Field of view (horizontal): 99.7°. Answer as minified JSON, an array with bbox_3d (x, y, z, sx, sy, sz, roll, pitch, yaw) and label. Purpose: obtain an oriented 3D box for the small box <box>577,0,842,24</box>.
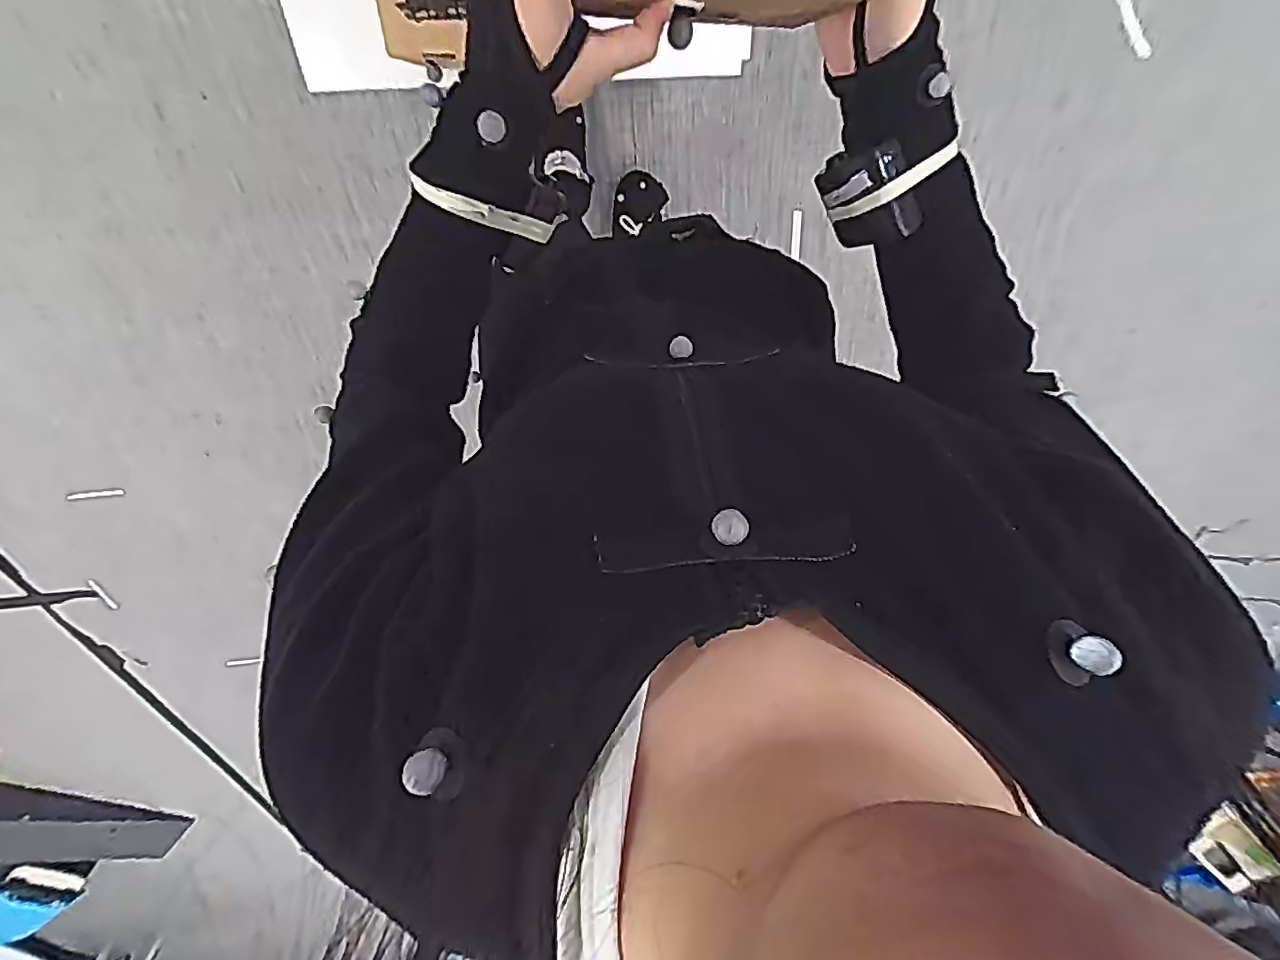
[{"bbox_3d":[0.049,-0.329,0.233,0.168,0.176,0.179,-9,123,-12],"label":"small box"}]
